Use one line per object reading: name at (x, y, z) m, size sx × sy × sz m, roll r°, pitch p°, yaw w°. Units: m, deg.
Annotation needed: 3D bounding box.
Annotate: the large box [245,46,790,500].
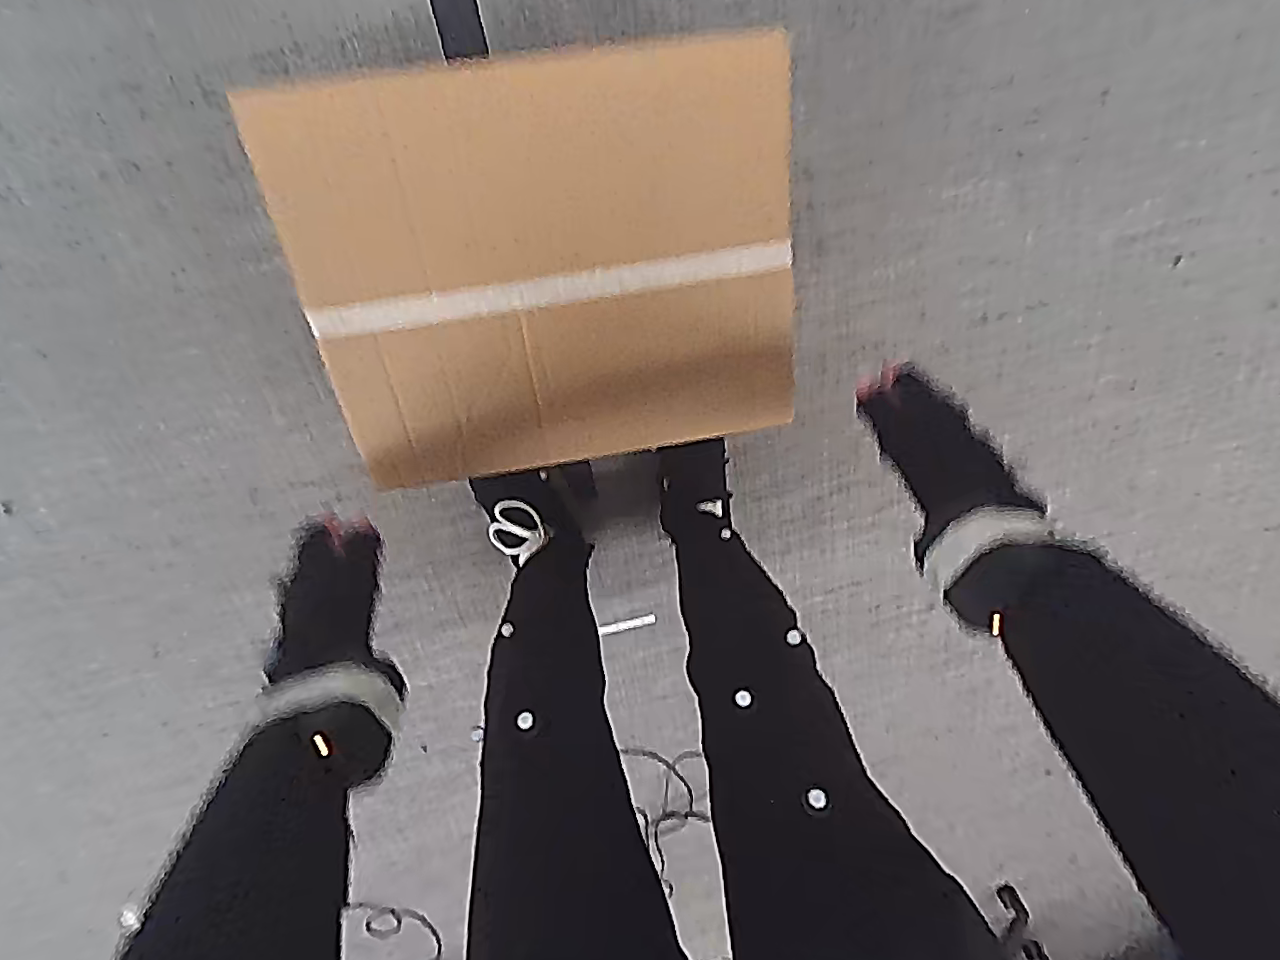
large box at (-0.085, -0.214, 0.590) m, size 0.408 × 0.320 × 0.320 m, roll -10°, pitch 114°, yaw -4°
